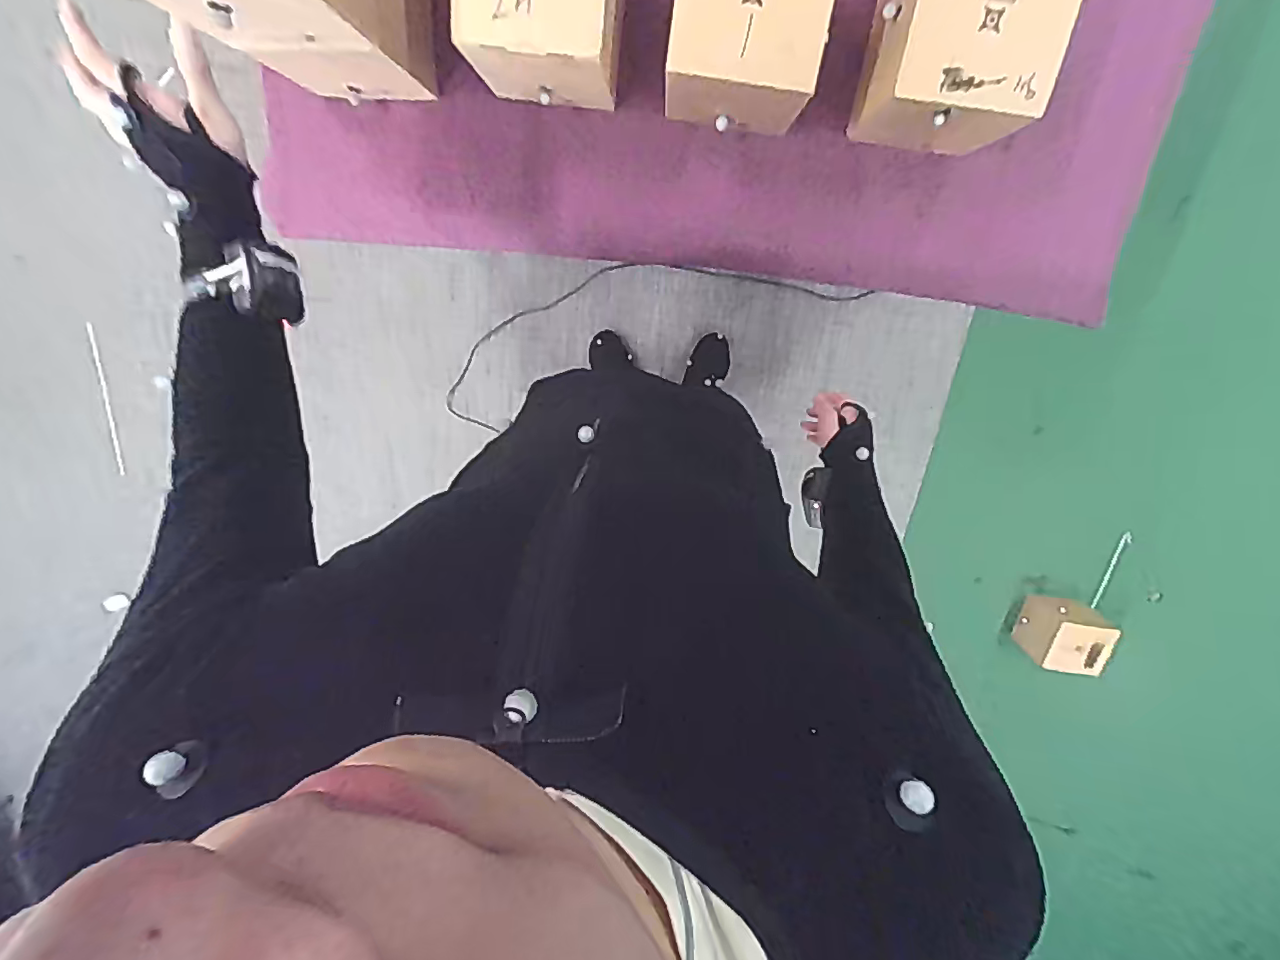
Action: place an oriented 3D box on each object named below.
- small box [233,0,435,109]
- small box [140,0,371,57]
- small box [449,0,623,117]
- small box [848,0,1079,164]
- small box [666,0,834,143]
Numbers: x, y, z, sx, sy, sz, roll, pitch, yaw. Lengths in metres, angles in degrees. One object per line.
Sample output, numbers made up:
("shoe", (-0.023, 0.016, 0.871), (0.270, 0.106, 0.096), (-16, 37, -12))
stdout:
("small box", (-0.361, -0.574, 0.643), (0.168, 0.176, 0.179), (3, 109, 2))
("small box", (-0.369, -0.518, 0.491), (0.168, 0.176, 0.179), (3, 108, 3))
("small box", (-0.111, -0.562, 0.634), (0.168, 0.176, 0.179), (8, 109, 0))
("small box", (0.364, -0.498, 0.633), (0.168, 0.176, 0.179), (9, 108, 0))
("small box", (0.122, -0.528, 0.635), (0.168, 0.176, 0.179), (9, 110, 0))
